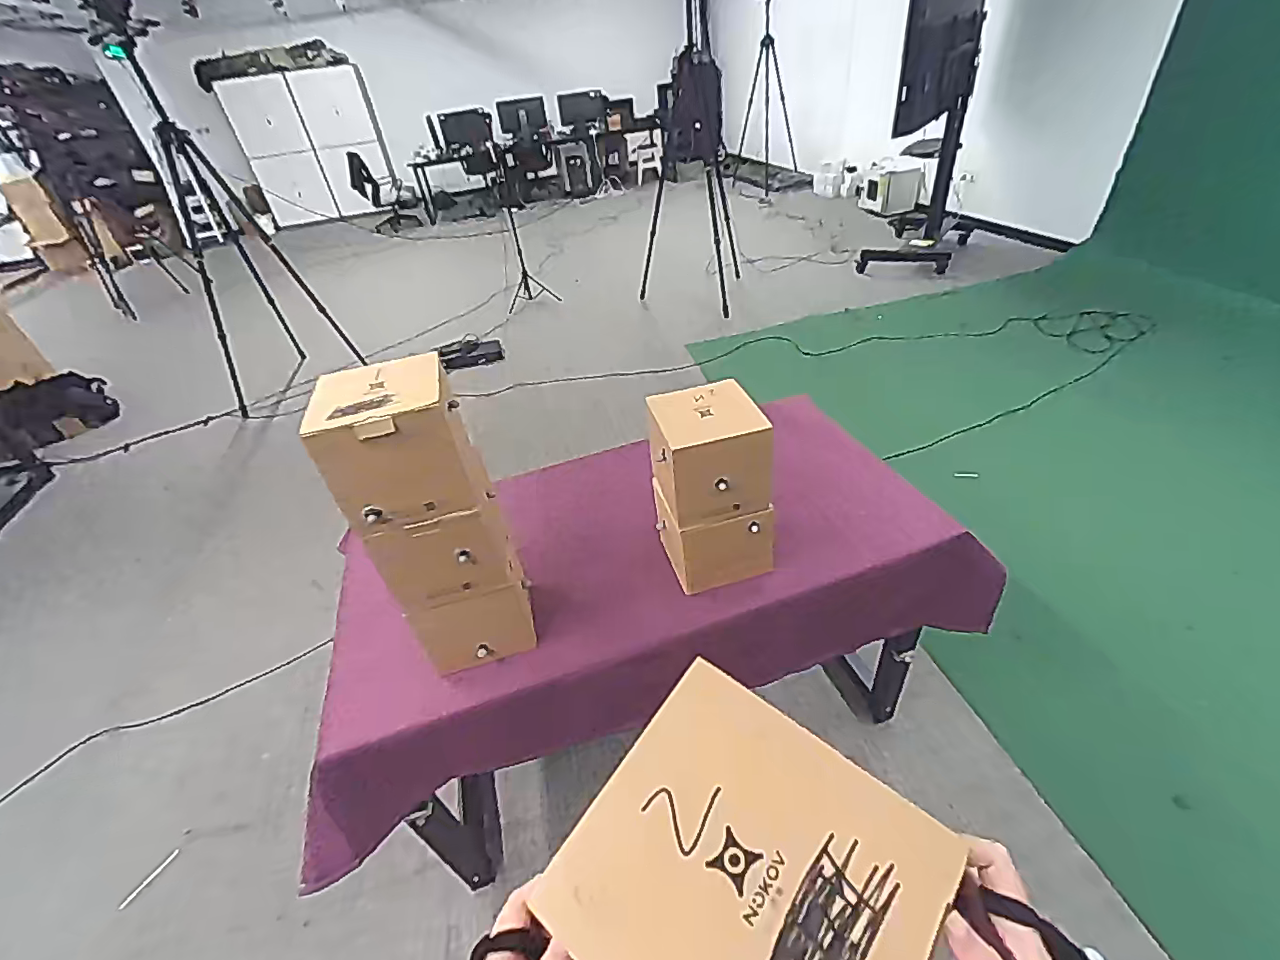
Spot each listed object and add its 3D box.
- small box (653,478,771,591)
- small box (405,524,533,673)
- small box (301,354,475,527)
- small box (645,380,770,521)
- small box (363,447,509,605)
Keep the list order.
[{"bbox_3d":[0.136,0.086,1.030,0.179,0.176,0.168,-14,38,-8],"label":"small box"},{"bbox_3d":[-0.293,0.209,0.956,0.179,0.176,0.168,-15,38,-9],"label":"small box"},{"bbox_3d":[-0.340,-0.052,0.763,0.168,0.176,0.179,-16,37,-10],"label":"small box"},{"bbox_3d":[0.115,-0.046,0.934,0.168,0.176,0.179,-13,38,-6],"label":"small box"},{"bbox_3d":[-0.312,0.078,0.861,0.168,0.176,0.179,-14,37,-7],"label":"small box"}]
